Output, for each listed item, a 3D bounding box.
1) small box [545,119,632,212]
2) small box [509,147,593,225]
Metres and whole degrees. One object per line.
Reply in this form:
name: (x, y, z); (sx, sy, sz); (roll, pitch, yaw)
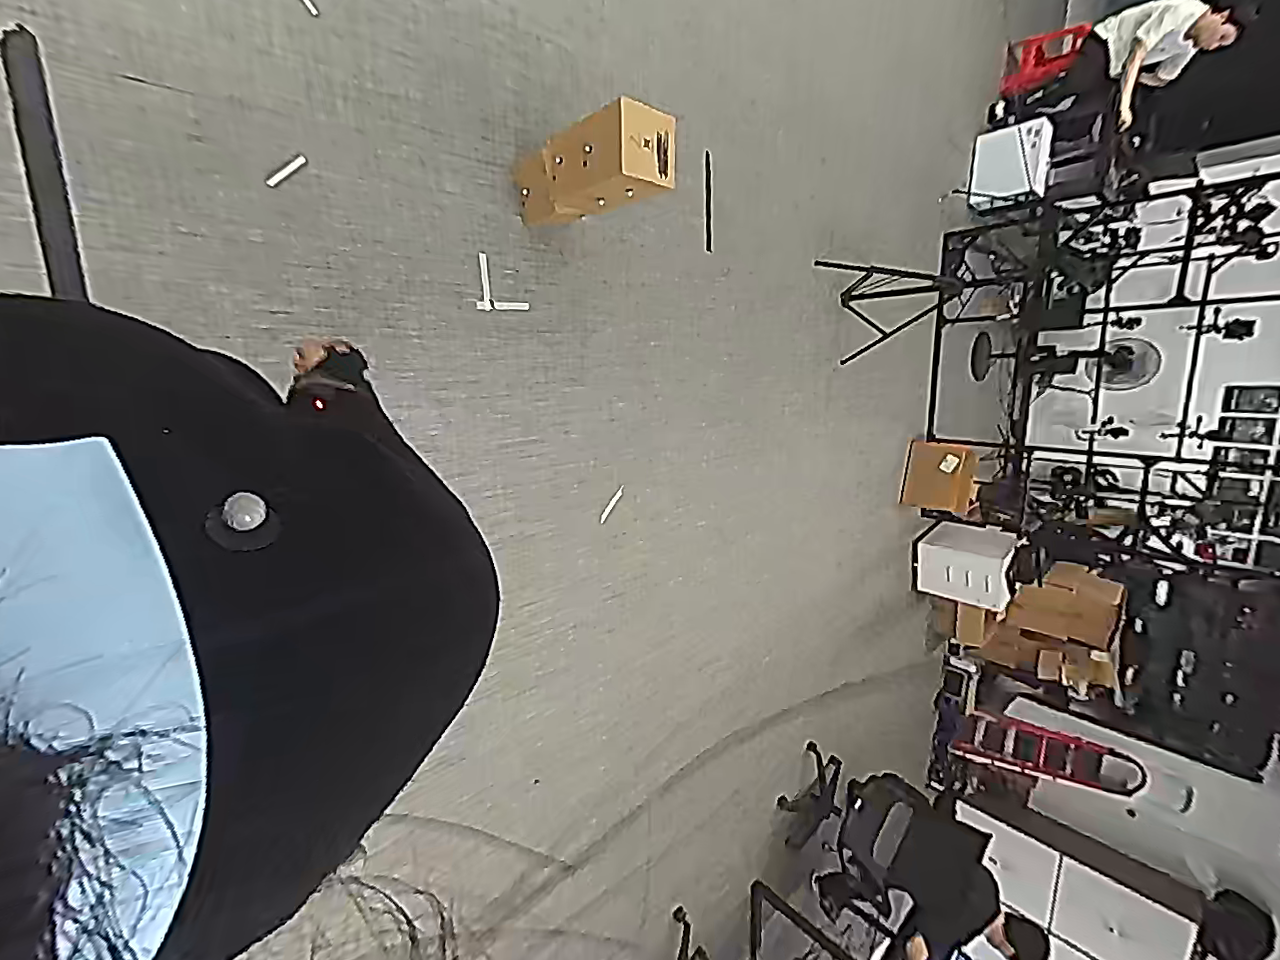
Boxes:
small box: (-0.140, -0.848, 1.481); (0.179, 0.176, 0.168); (-11, 105, -41)
small box: (-0.256, -0.862, 1.595); (0.179, 0.176, 0.168); (-26, 114, -37)
